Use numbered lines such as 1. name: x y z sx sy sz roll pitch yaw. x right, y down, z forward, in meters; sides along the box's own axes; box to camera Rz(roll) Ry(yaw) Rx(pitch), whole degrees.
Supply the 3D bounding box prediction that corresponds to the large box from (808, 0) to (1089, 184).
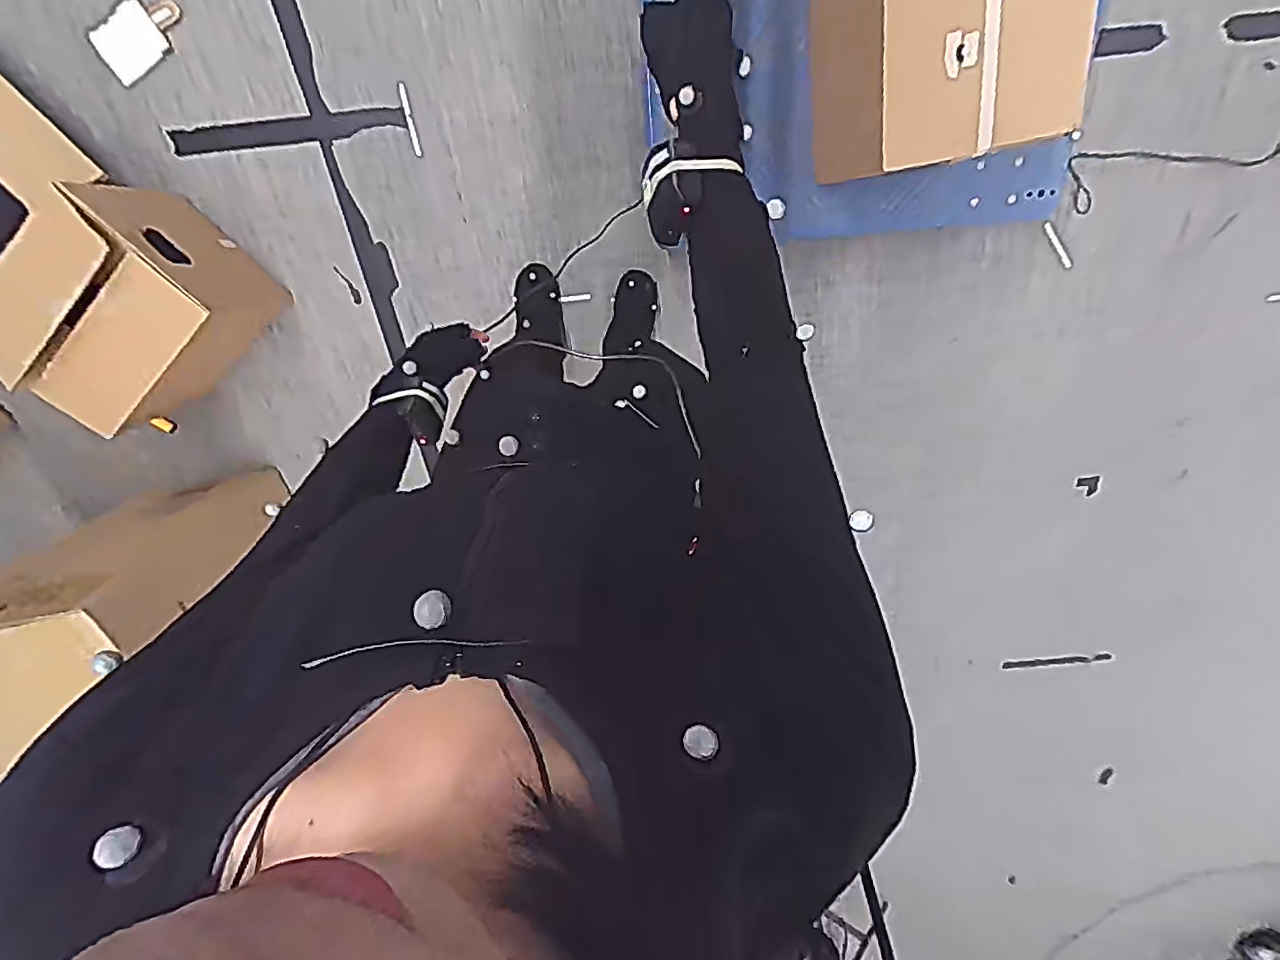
1. large box: 0.489 -0.760 0.909 0.320 0.320 0.408 -11 116 2
